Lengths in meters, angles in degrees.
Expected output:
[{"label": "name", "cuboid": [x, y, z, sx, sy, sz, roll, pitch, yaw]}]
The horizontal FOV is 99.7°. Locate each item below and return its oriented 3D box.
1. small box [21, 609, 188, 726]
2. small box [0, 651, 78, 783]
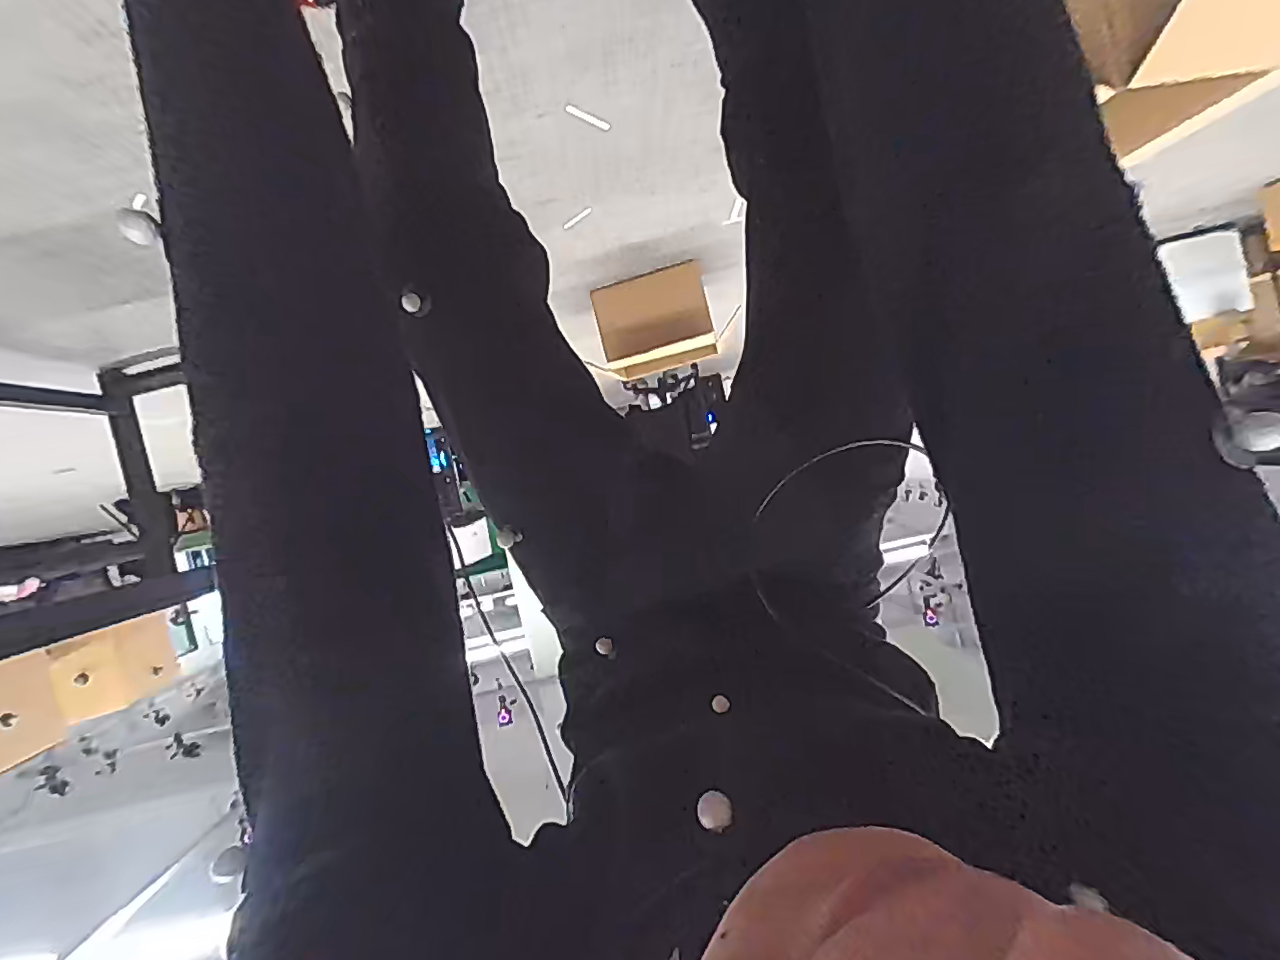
[{"label": "small box", "cuboid": [-1.083, 0.381, 1.101, 0.168, 0.176, 0.179, -14, -177, -13]}, {"label": "small box", "cuboid": [-1.044, 0.384, 0.823, 0.168, 0.176, 0.179, -13, -177, -2]}]
